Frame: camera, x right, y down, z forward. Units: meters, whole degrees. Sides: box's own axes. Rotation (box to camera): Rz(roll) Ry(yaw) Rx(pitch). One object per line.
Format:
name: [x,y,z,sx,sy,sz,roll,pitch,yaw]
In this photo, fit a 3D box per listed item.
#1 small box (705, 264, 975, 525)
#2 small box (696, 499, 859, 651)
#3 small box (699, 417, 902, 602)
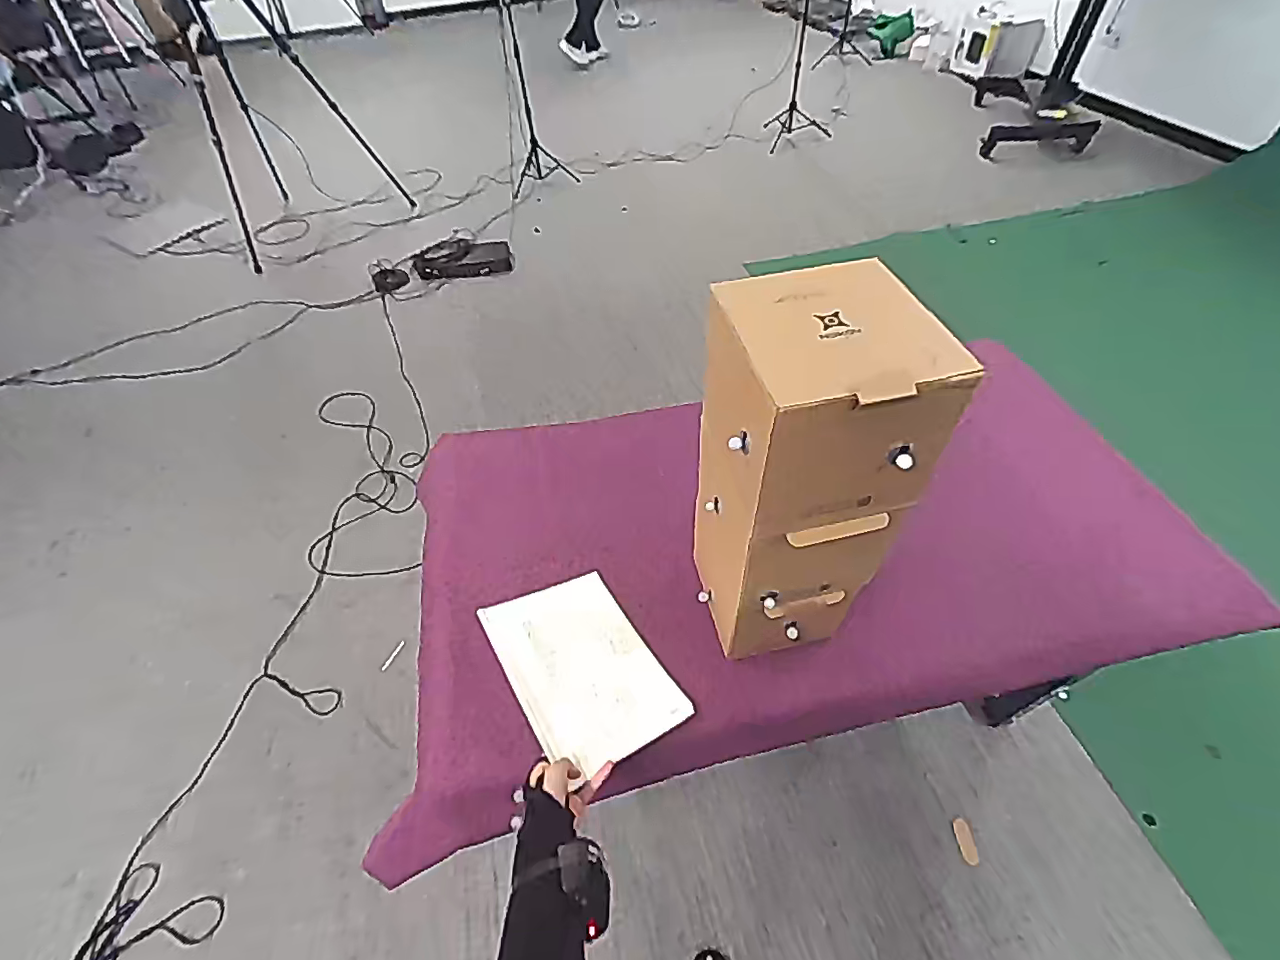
small box: [0.163,-0.073,0.512,0.168,0.176,0.179,-10,50,-5]
small box: [0.180,0.128,0.771,0.168,0.176,0.179,-11,51,-5]
small box: [0.171,0.027,0.640,0.168,0.176,0.179,-11,49,-5]
